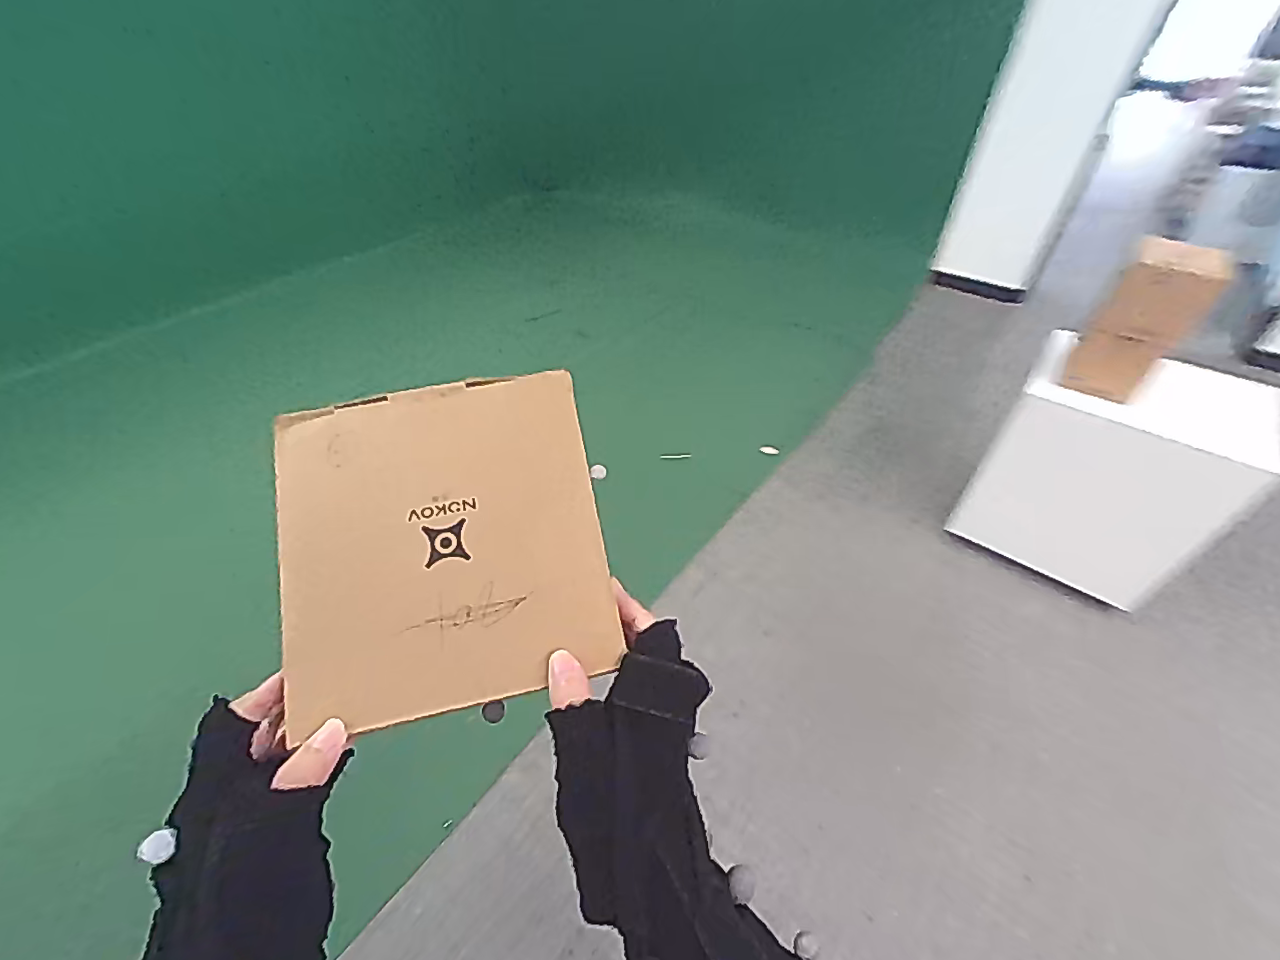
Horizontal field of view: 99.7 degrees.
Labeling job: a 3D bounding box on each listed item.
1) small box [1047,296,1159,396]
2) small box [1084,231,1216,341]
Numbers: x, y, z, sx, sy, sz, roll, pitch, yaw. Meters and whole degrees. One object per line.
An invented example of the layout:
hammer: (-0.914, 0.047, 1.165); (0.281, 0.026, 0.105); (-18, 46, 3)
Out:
small box: (1.180, -0.340, 1.380); (0.168, 0.176, 0.179); (26, 51, 25)
small box: (1.181, -0.453, 1.262); (0.168, 0.176, 0.179); (26, 51, 25)
